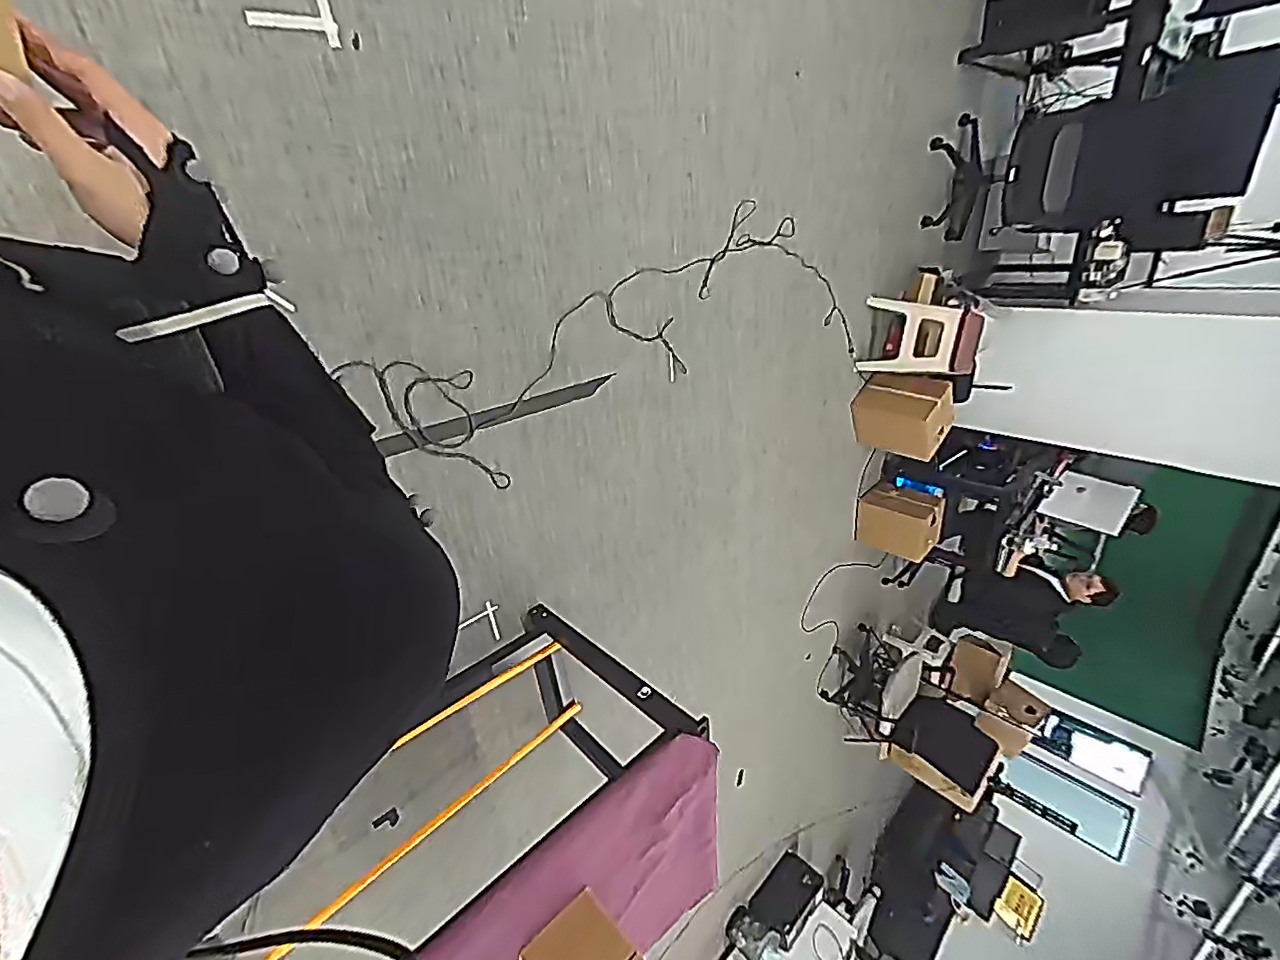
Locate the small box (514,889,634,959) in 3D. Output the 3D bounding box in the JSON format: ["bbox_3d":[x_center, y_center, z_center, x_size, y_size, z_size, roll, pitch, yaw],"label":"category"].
[{"bbox_3d":[-0.128,0.993,1.094,0.179,0.176,0.168,-25,122,-36],"label":"small box"}]
